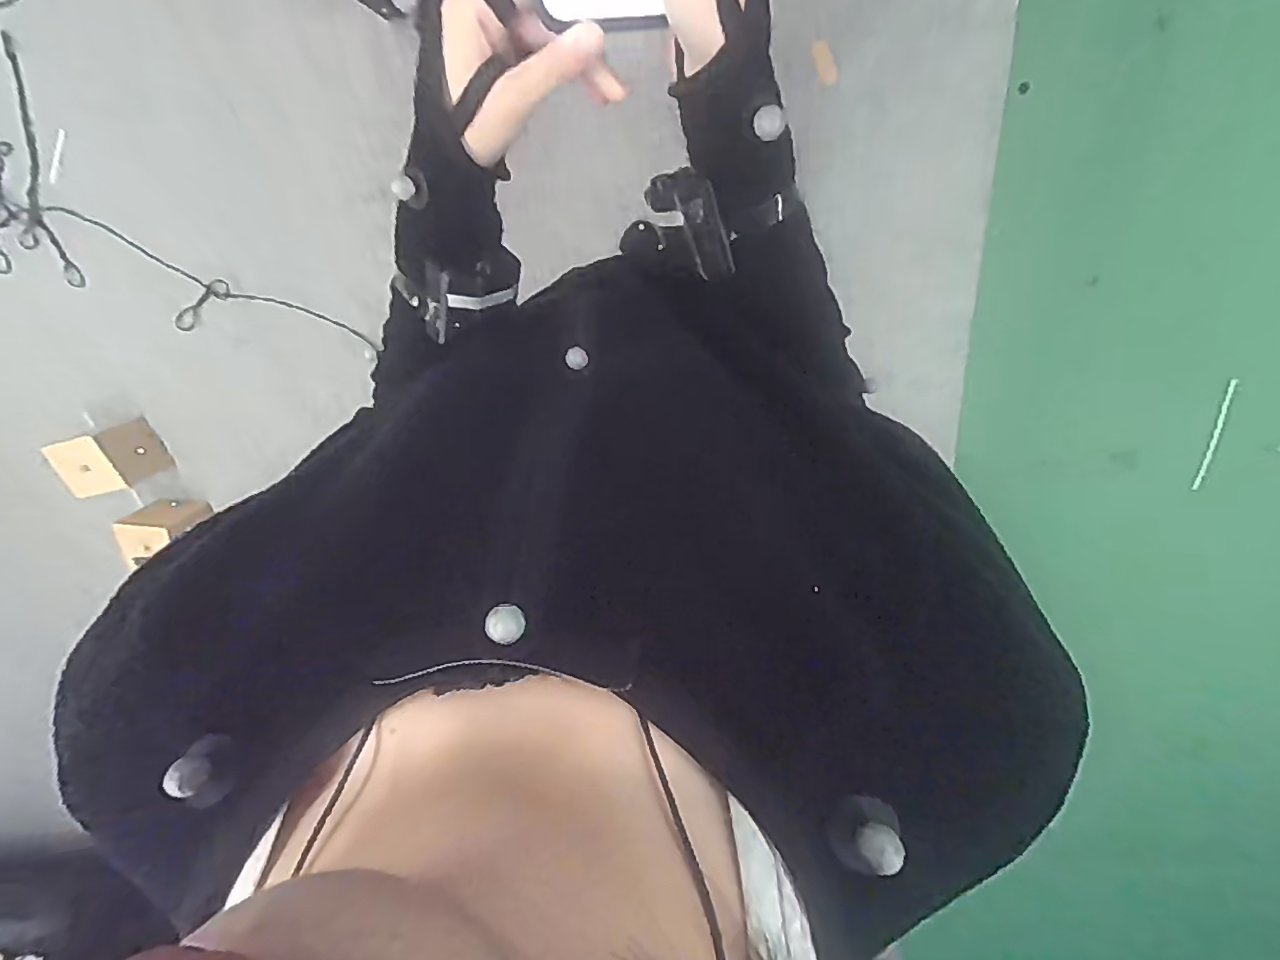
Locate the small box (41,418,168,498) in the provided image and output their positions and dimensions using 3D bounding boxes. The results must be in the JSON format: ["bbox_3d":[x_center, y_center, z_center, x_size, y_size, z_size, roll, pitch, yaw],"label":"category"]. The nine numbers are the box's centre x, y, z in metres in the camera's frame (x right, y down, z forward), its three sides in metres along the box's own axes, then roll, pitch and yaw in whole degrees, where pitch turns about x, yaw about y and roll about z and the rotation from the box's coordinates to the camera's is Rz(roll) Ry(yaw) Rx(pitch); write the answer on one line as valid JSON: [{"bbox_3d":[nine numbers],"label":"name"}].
[{"bbox_3d":[-1.540,-0.069,1.575,0.179,0.176,0.168,-11,114,9],"label":"small box"}]
